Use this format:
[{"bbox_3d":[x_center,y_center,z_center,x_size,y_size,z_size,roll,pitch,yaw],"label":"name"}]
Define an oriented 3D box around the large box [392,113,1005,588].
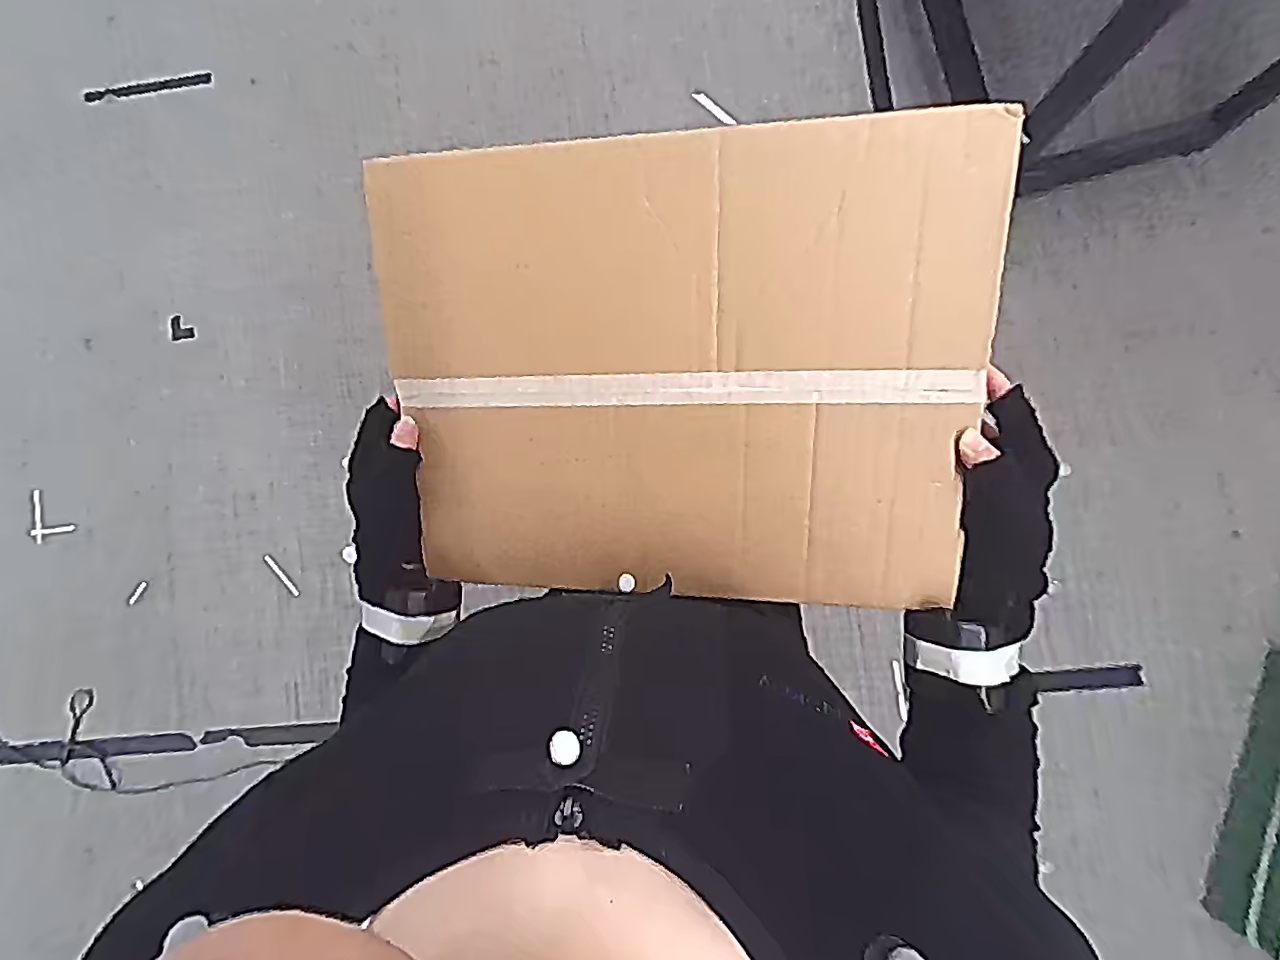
[{"bbox_3d":[0.047,-0.110,0.529,0.408,0.320,0.320,1,108,10],"label":"large box"}]
